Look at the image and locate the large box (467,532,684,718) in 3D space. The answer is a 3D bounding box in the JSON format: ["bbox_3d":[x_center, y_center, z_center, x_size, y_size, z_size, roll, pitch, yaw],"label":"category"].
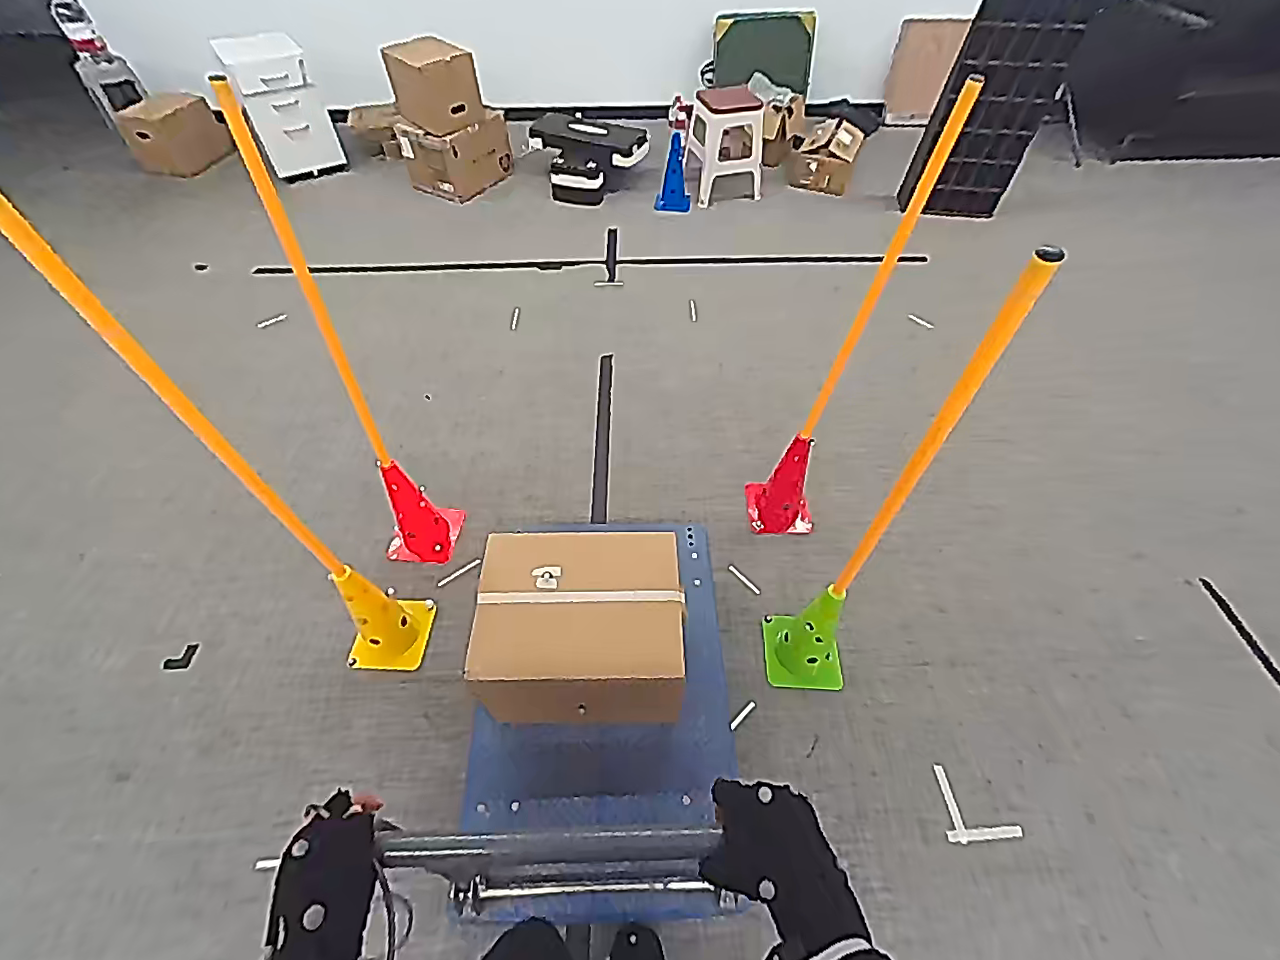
[{"bbox_3d":[-0.119,0.327,1.192,0.408,0.320,0.320,-1,52,0],"label":"large box"}]

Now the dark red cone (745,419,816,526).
[{"bbox_3d":[0.458,-0.034,1.638,0.201,0.394,0.202,1,52,-2],"label":"dark red cone"}]

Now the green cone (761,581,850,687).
[{"bbox_3d":[0.443,0.359,1.353,0.202,0.368,0.200,3,52,1],"label":"green cone"}]

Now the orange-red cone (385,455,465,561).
[{"bbox_3d":[-0.671,0.055,1.587,0.198,0.360,0.199,6,51,3],"label":"orange-red cone"}]
